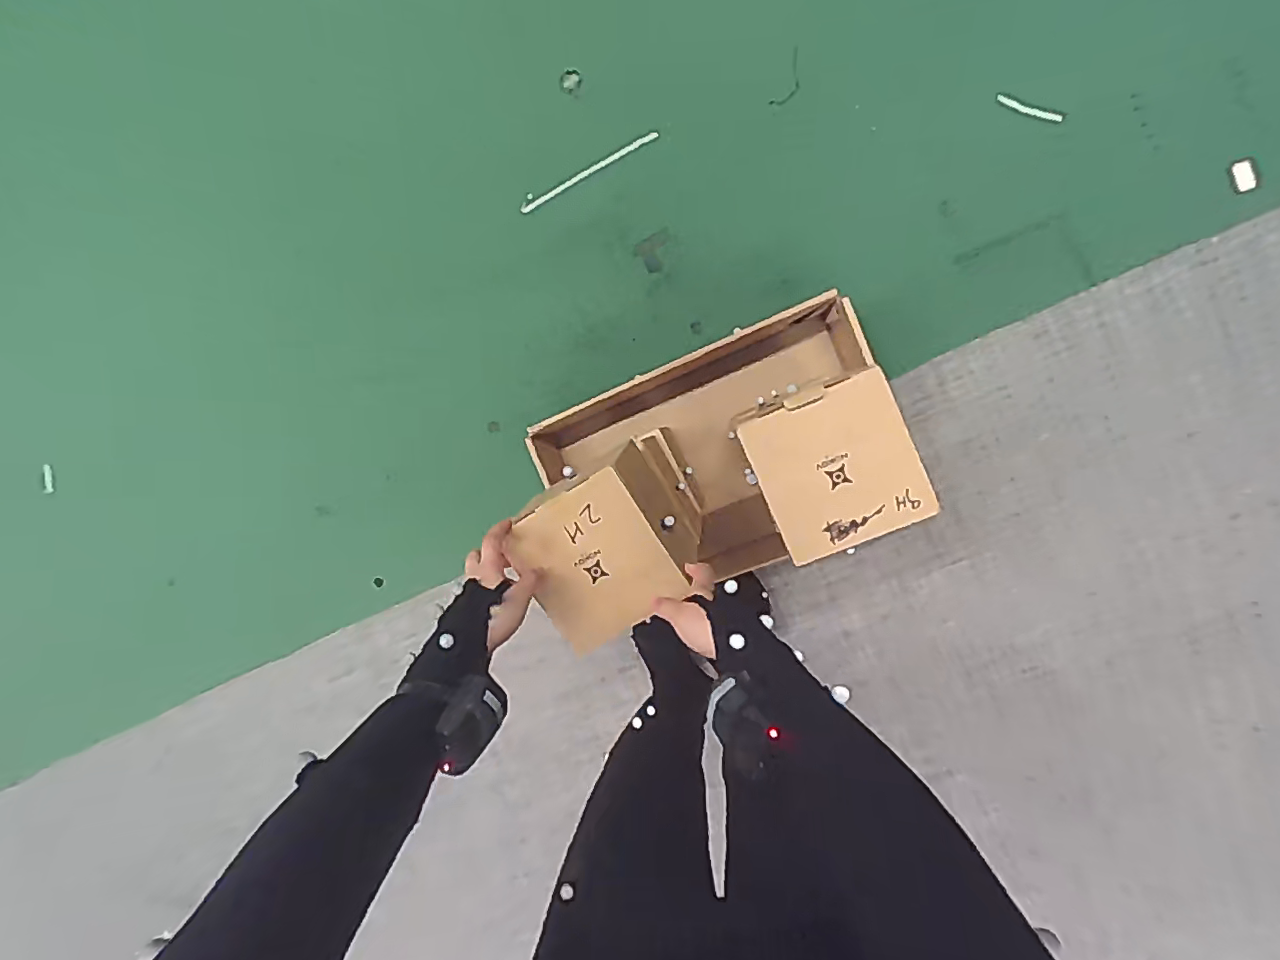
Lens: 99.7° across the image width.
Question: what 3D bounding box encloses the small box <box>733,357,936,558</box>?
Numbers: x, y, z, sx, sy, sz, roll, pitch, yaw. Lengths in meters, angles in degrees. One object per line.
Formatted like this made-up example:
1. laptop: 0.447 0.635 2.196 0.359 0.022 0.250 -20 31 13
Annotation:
1. small box: 0.220 -0.029 0.662 0.168 0.176 0.179 -24 93 11

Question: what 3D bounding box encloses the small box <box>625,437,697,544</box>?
1. small box: -0.020 0.042 0.873 0.168 0.176 0.179 -30 94 10

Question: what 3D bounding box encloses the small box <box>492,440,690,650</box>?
1. small box: -0.047 0.071 0.680 0.168 0.176 0.179 -31 98 12

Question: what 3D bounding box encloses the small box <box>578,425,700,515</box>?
1. small box: 0.003 0.008 1.033 0.168 0.176 0.179 -27 93 10
